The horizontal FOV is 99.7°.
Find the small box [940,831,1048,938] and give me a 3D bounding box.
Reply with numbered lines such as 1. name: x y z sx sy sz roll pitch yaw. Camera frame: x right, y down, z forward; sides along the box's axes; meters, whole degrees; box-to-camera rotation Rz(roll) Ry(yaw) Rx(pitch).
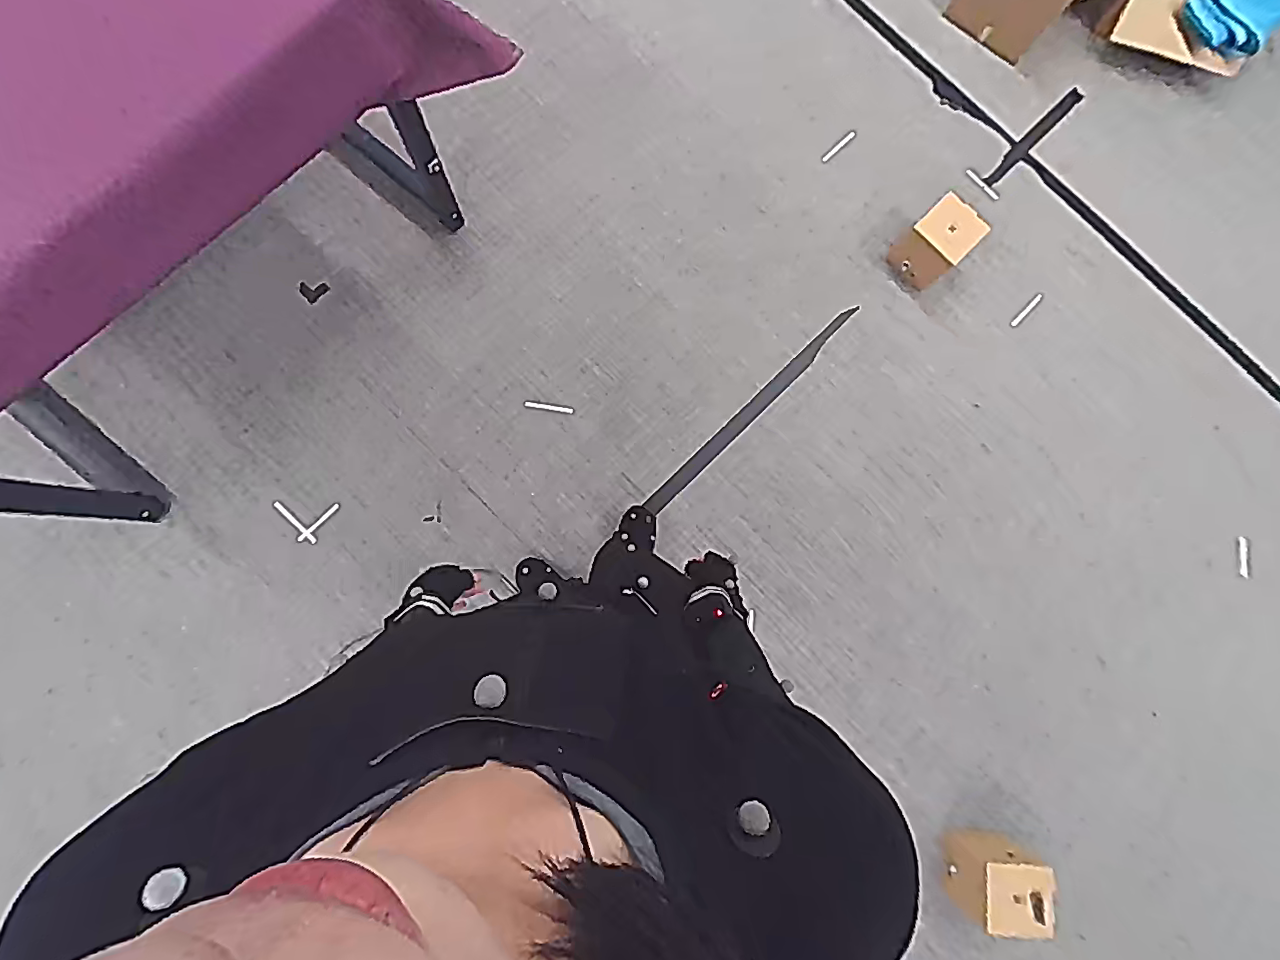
1. small box: 0.926 1.055 1.422 0.179 0.176 0.168 6 81 -3

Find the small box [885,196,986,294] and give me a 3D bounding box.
1. small box: 0.891 -0.711 1.650 0.168 0.176 0.179 45 82 3
